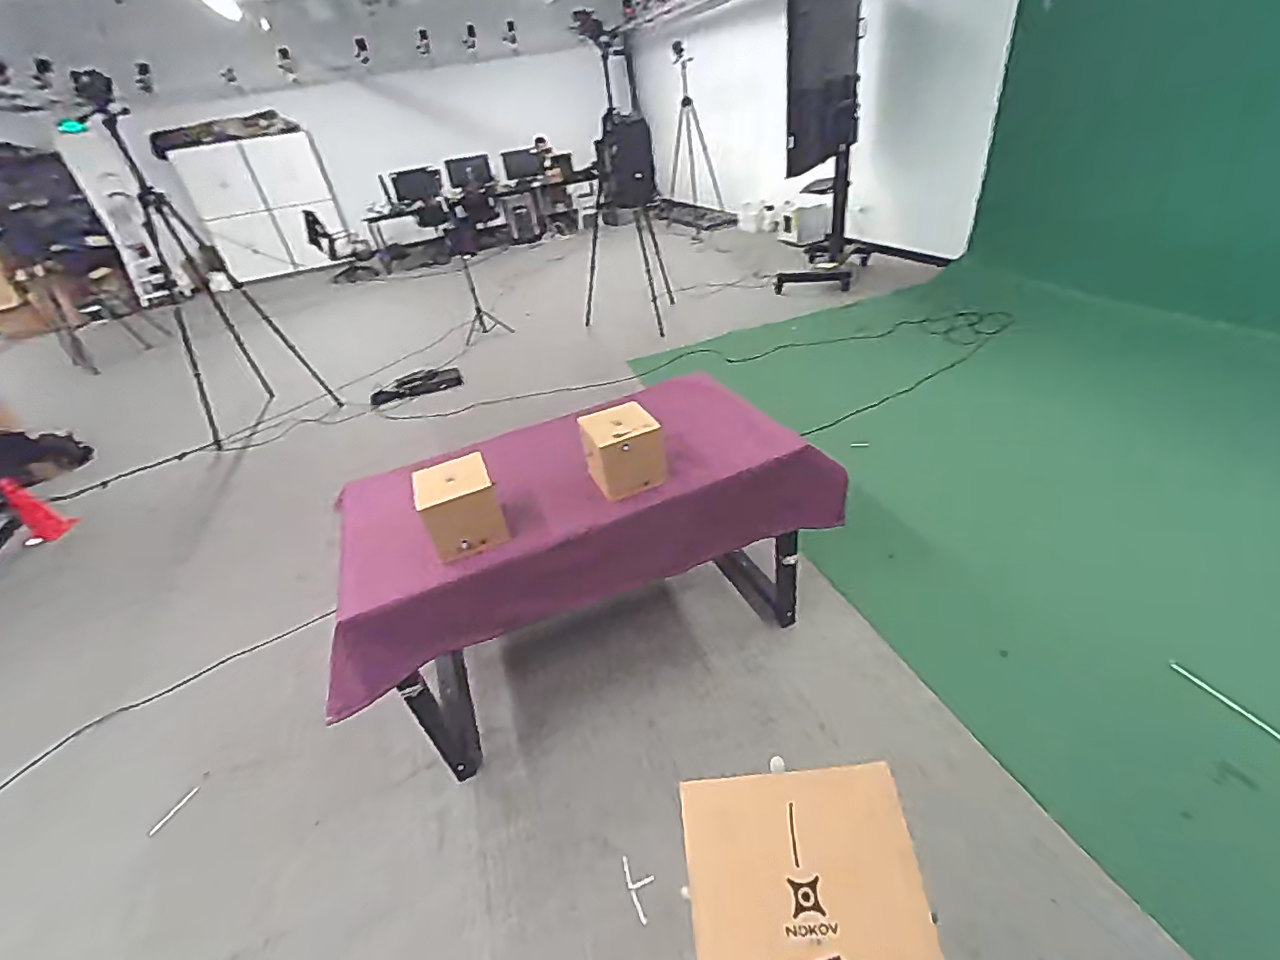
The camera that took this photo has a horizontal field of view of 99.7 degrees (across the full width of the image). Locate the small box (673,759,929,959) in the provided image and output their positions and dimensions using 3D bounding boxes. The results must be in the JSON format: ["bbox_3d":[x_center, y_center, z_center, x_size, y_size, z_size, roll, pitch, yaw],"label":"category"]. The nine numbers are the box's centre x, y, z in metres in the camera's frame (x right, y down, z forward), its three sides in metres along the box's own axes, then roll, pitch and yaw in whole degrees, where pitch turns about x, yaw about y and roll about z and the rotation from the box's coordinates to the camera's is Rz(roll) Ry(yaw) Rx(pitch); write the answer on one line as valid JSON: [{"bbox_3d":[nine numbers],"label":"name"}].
[{"bbox_3d":[0.125,0.343,0.455,0.168,0.176,0.179,-8,58,5],"label":"small box"}]

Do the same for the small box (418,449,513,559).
[{"bbox_3d":[-0.416,0.057,1.294,0.168,0.176,0.179,-20,37,-13],"label":"small box"}]

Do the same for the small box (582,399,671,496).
[{"bbox_3d":[-0.034,-0.085,1.398,0.168,0.176,0.179,-21,36,-13],"label":"small box"}]
